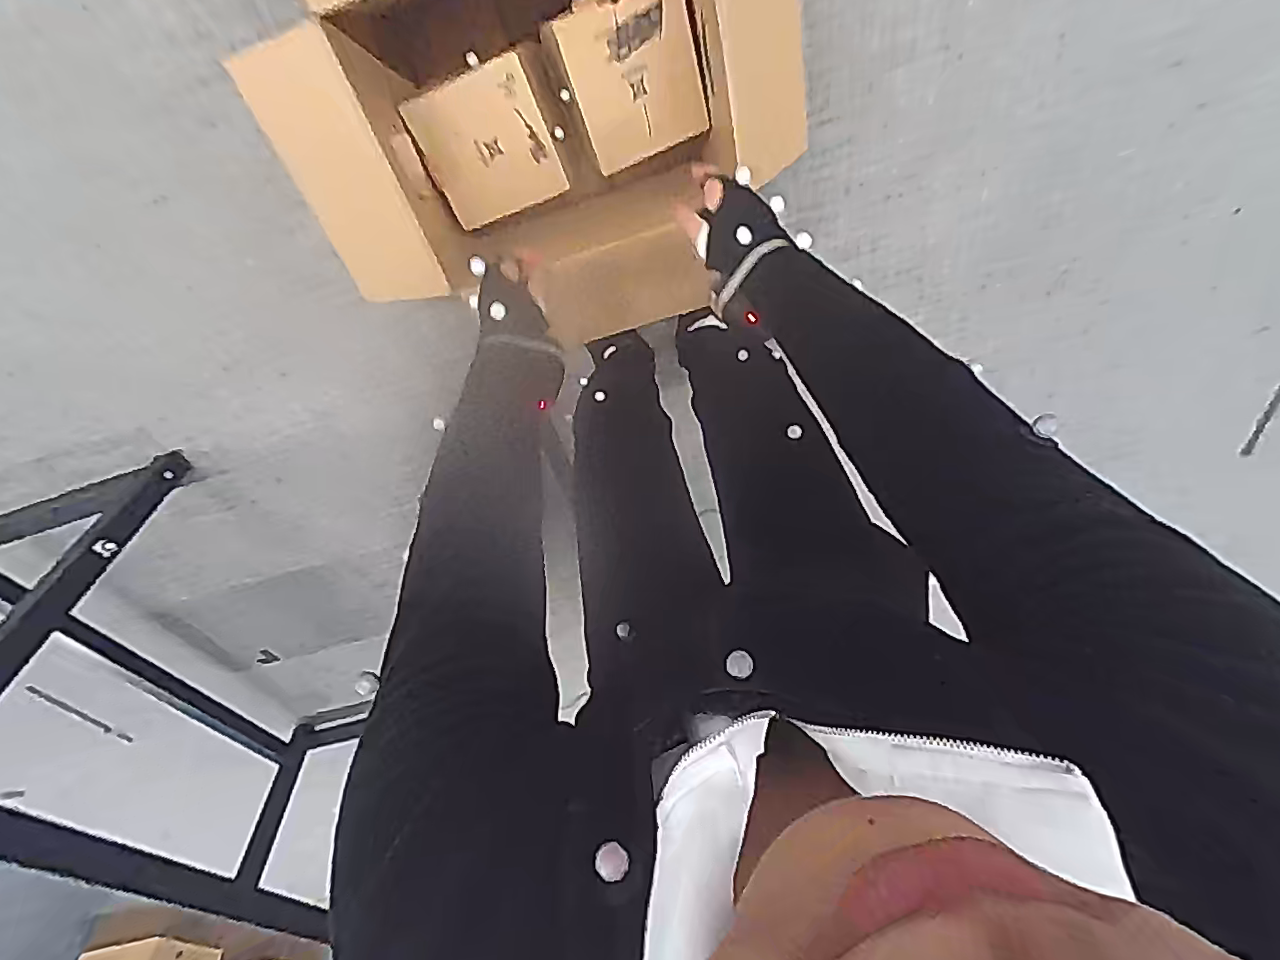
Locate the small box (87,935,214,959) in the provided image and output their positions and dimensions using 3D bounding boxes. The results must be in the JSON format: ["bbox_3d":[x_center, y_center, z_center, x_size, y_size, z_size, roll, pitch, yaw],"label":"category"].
[{"bbox_3d":[-0.975,1.006,1.042,0.179,0.176,0.168,-15,130,6],"label":"small box"}]

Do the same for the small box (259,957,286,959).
[{"bbox_3d":[-0.890,1.226,1.240,0.179,0.176,0.168,-19,129,10],"label":"small box"}]
